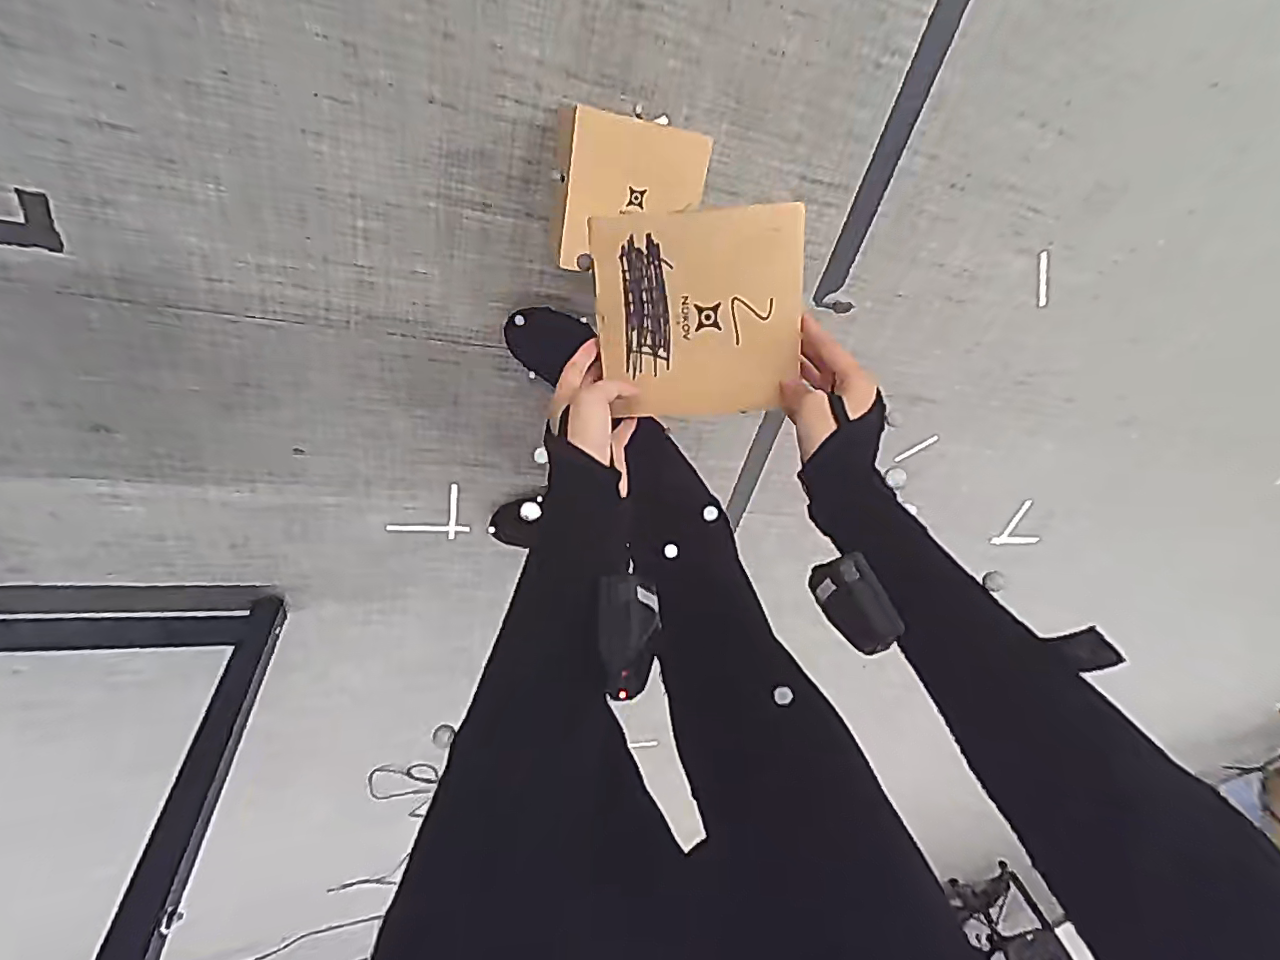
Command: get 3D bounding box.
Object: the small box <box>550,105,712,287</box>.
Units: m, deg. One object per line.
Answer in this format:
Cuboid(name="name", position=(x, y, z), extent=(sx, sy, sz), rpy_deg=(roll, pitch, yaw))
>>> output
Cuboid(name="small box", position=(-0.025, -0.378, 0.718), extent=(0.168, 0.176, 0.179), rpy_deg=(2, 125, -17))
